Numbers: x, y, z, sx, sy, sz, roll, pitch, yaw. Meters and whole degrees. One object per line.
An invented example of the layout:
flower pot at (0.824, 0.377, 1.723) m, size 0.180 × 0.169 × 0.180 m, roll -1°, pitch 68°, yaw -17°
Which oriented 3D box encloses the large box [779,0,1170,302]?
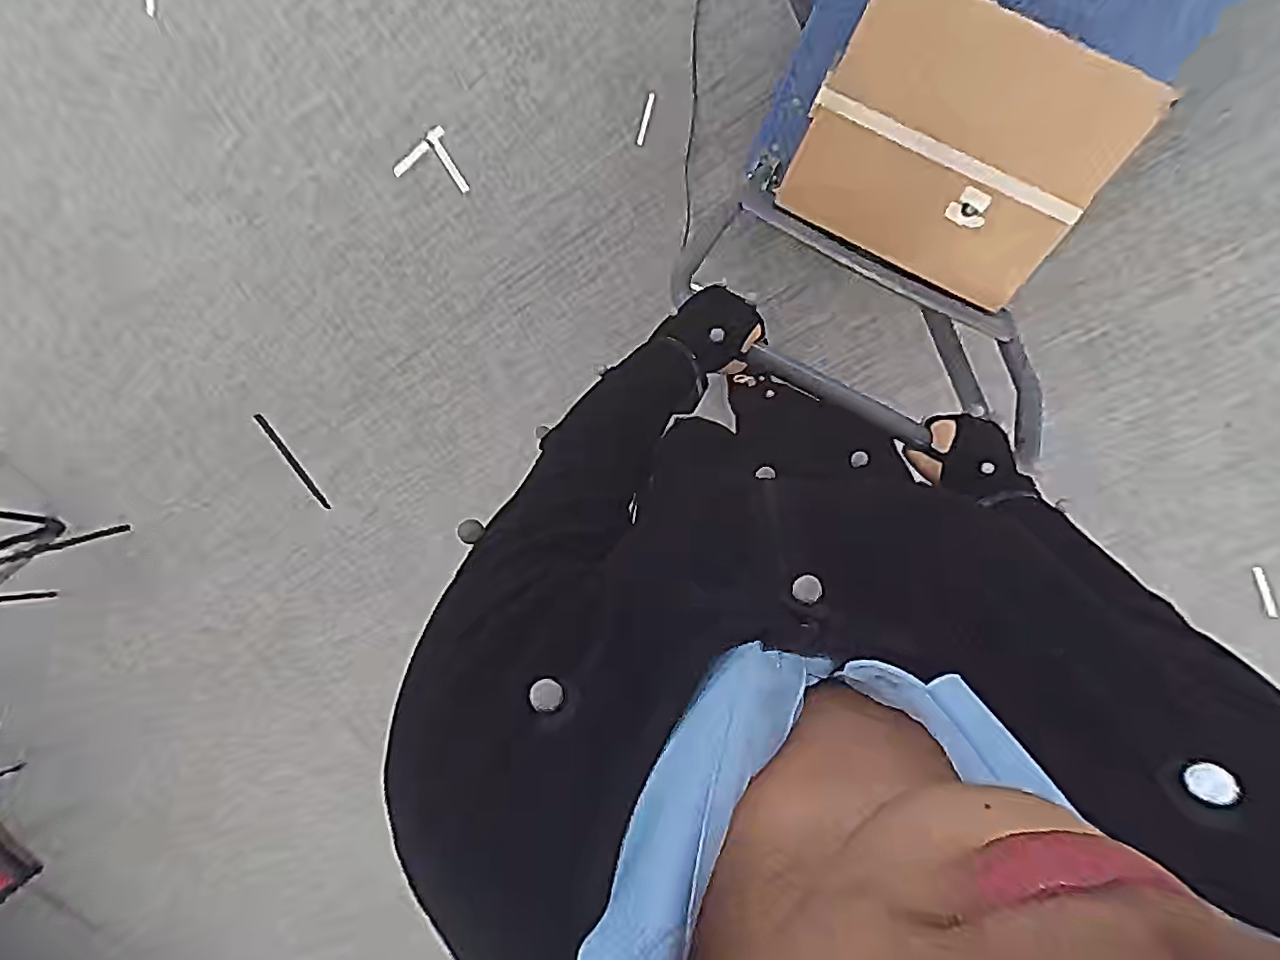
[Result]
large box at (0.496, -0.564, 0.905) m, size 0.408 × 0.320 × 0.320 m, roll 27°, pitch 130°, yaw 1°
